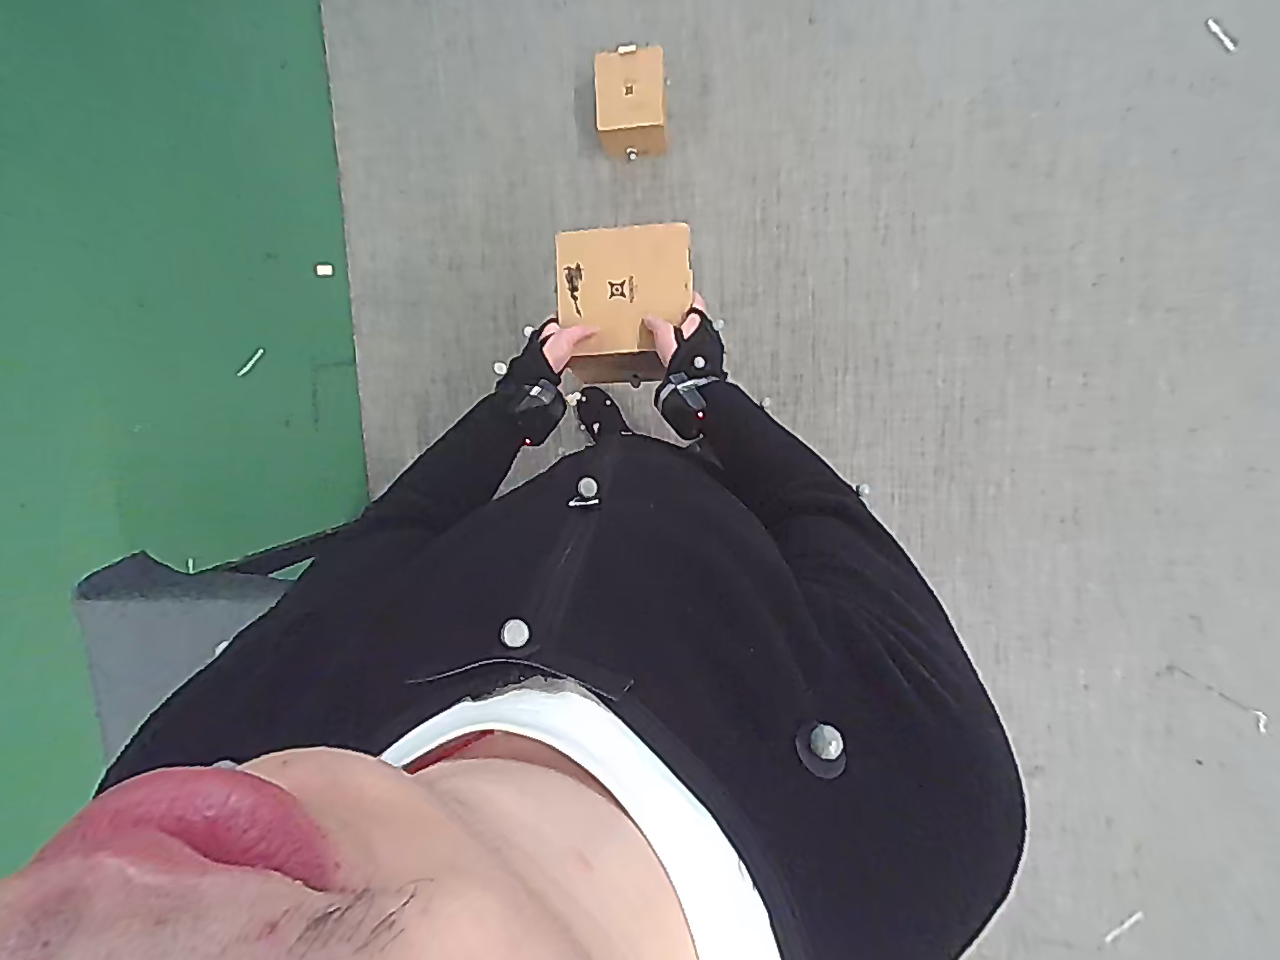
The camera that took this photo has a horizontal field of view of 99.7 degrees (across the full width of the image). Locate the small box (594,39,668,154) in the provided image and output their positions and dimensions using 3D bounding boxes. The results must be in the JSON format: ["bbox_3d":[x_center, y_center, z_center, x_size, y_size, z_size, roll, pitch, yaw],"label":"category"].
[{"bbox_3d":[-0.020,-0.953,1.356,0.168,0.176,0.179,1,98,8],"label":"small box"}]

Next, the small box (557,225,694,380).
[{"bbox_3d":[-0.016,-0.243,0.774,0.179,0.176,0.168,-1,88,3],"label":"small box"}]
